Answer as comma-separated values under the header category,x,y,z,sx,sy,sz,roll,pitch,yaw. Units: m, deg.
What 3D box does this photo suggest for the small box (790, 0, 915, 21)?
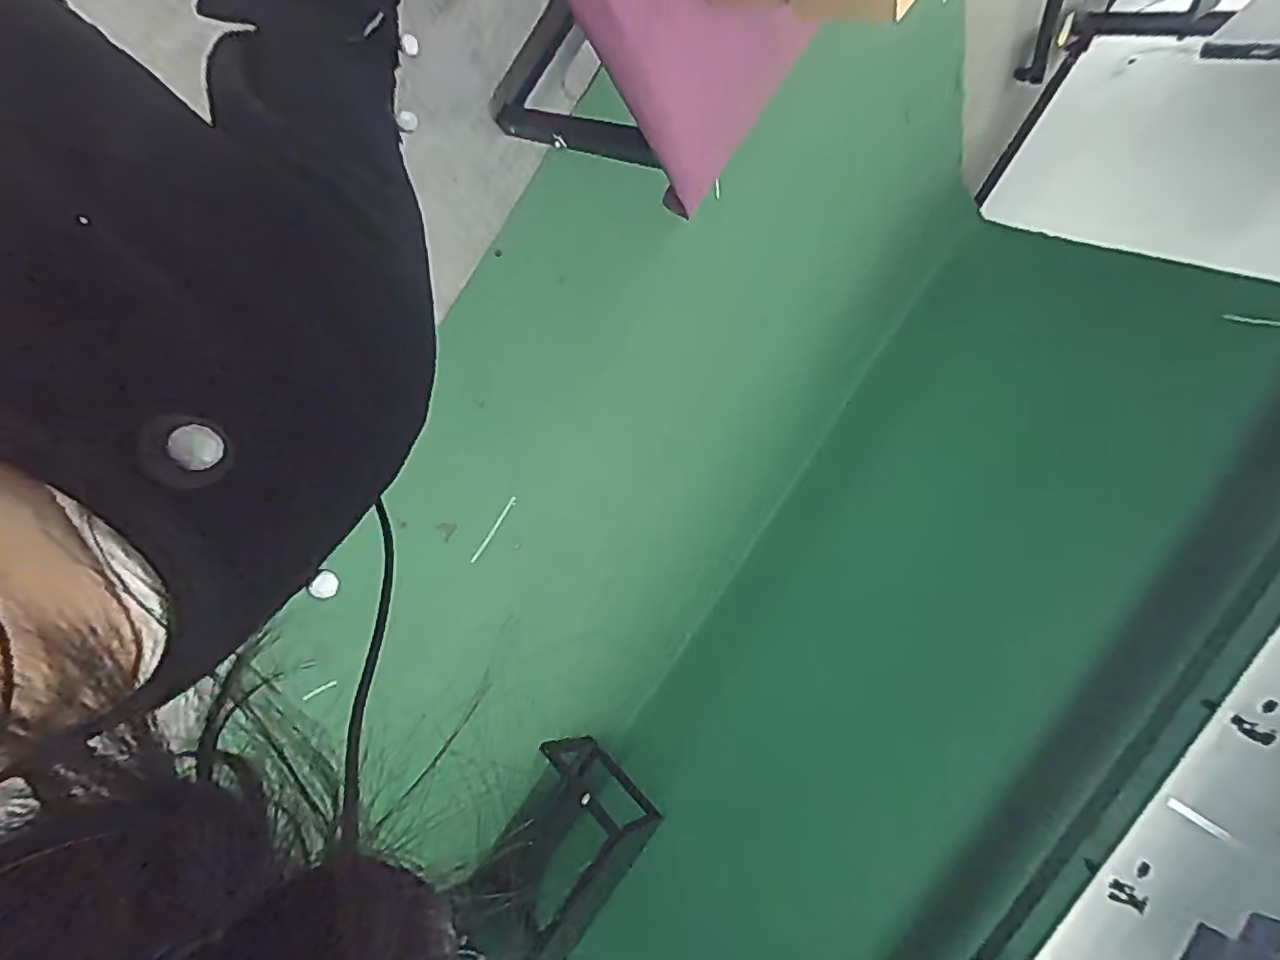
category,x,y,z,sx,sy,sz,roll,pitch,yaw
small box,0.297,-0.738,0.697,0.168,0.176,0.179,-52,147,-5
